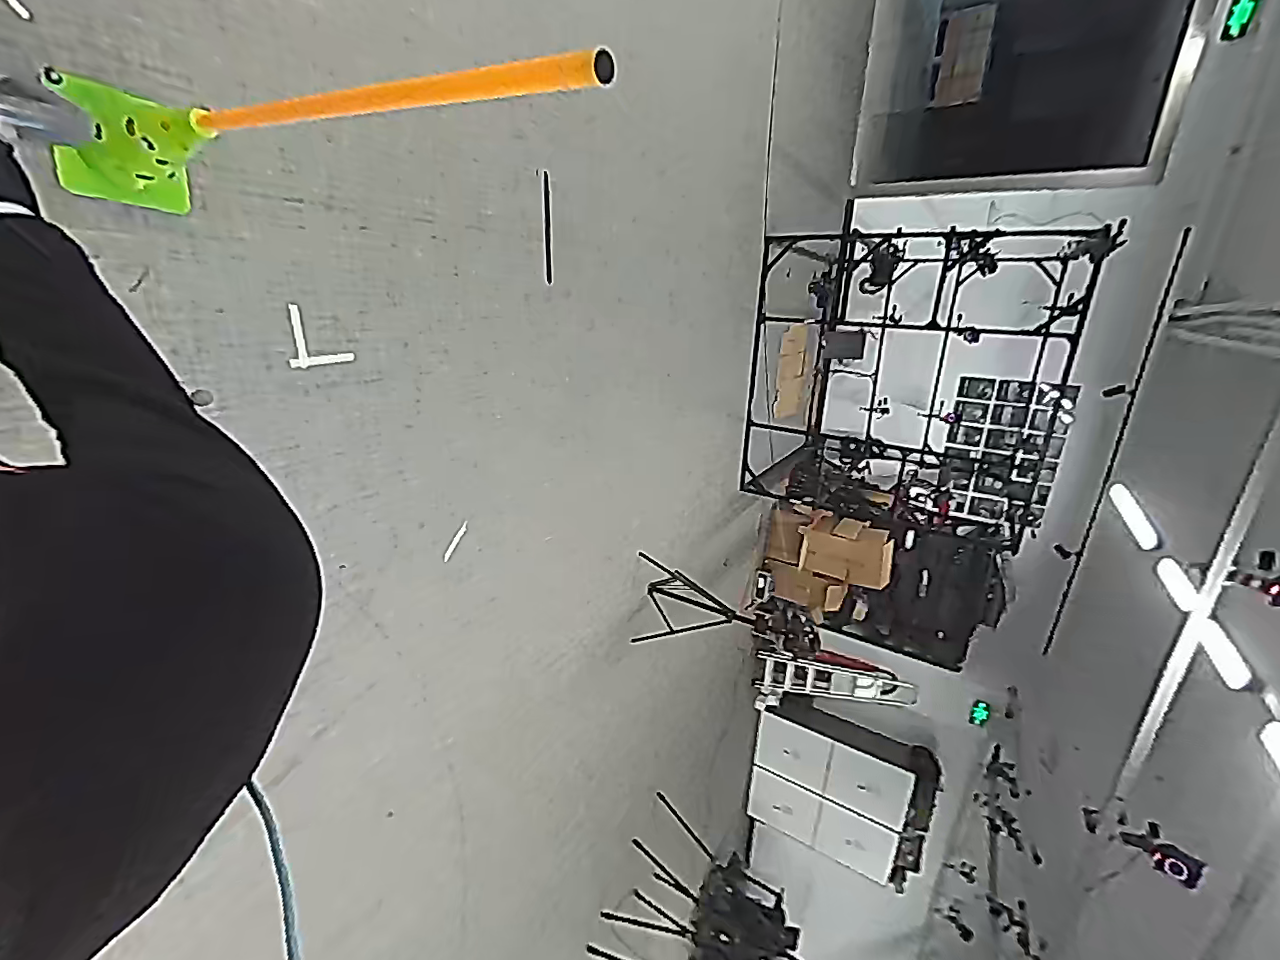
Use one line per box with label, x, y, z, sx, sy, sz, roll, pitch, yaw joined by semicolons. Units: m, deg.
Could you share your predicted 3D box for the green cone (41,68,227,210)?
green cone;-0.859;-0.619;0.970;0.202;0.368;0.200;-21;119;-57
